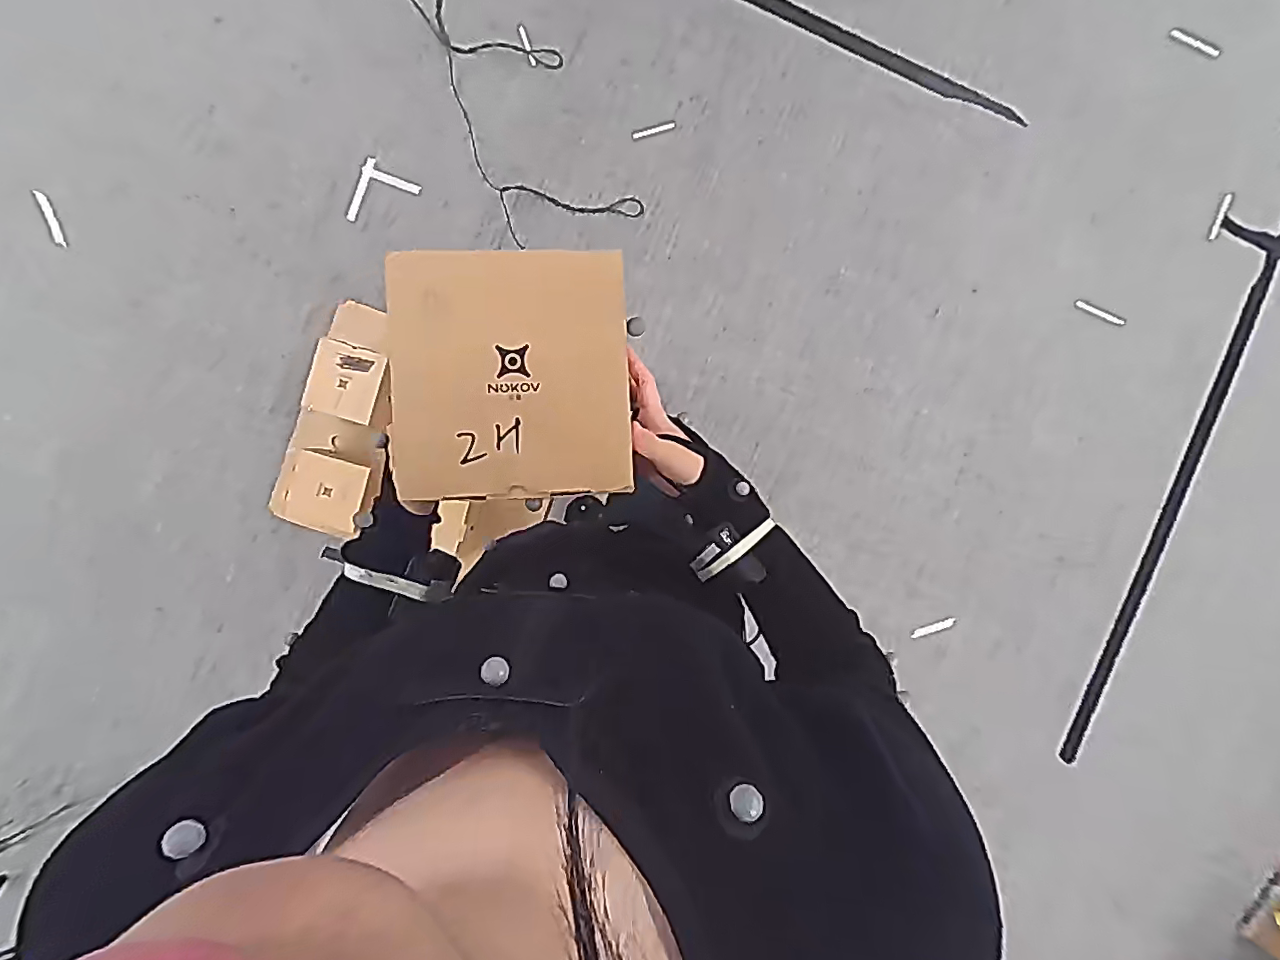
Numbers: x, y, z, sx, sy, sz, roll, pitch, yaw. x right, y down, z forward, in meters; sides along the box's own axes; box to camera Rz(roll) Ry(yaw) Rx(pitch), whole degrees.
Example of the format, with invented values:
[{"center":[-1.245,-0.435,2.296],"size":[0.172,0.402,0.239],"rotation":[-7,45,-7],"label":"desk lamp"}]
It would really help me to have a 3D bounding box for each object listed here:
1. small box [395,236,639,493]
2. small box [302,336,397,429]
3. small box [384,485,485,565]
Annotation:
[{"center":[-0.092,-0.079,0.452],"size":[0.168,0.176,0.179],"rotation":[-2,90,-5],"label":"small box"},{"center":[-0.695,-0.235,1.349],"size":[0.168,0.176,0.179],"rotation":[17,91,-3],"label":"small box"},{"center":[-0.509,0.100,1.366],"size":[0.179,0.176,0.168],"rotation":[16,90,-5],"label":"small box"}]
